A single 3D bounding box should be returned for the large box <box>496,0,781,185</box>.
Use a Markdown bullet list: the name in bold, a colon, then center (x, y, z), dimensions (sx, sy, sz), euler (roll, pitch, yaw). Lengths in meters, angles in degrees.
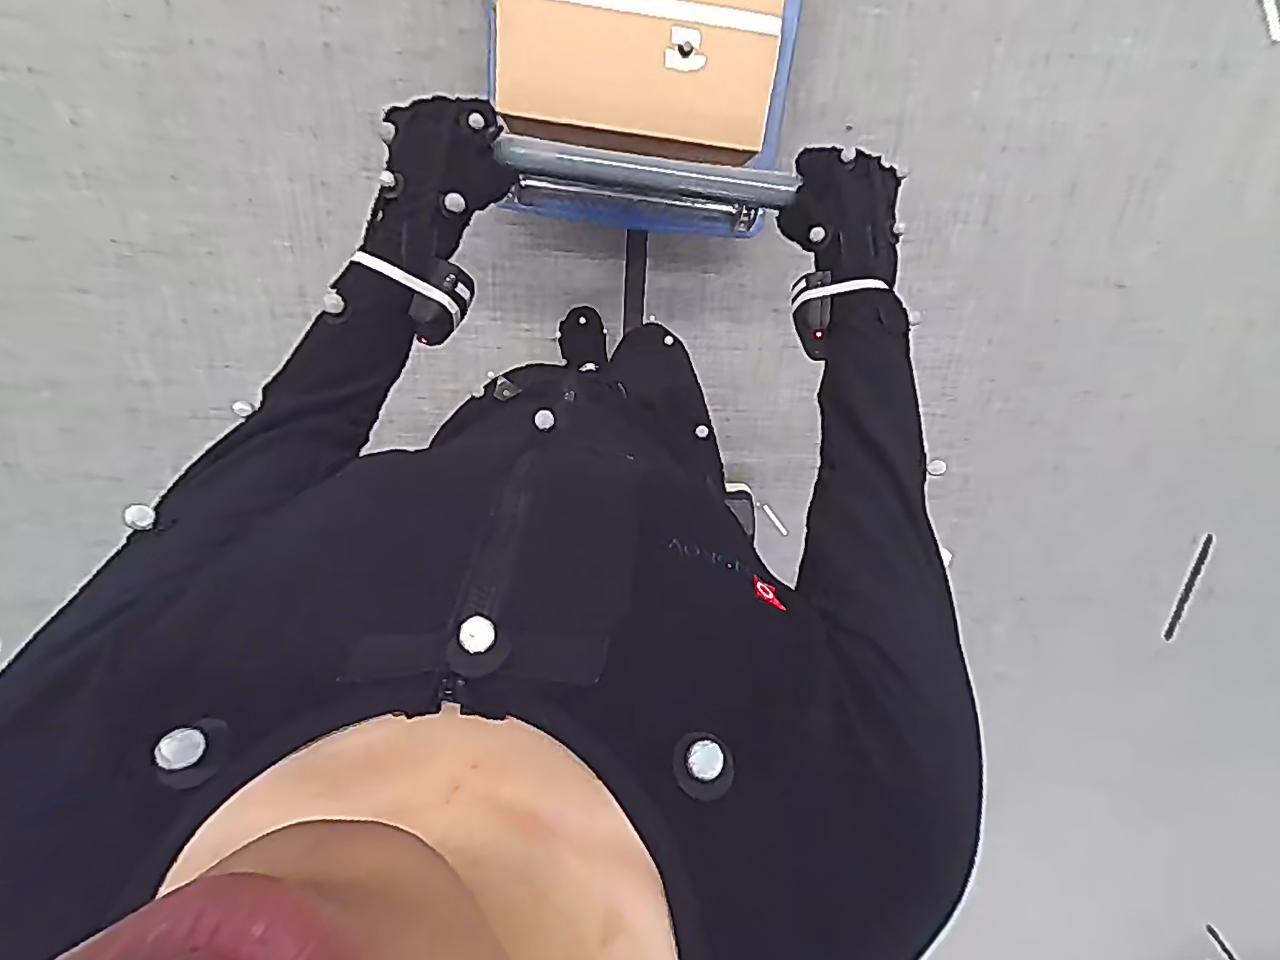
- **large box**: center (-0.012, -0.708, 0.898), dimensions (0.408, 0.320, 0.320), euler (4, 111, -6)
